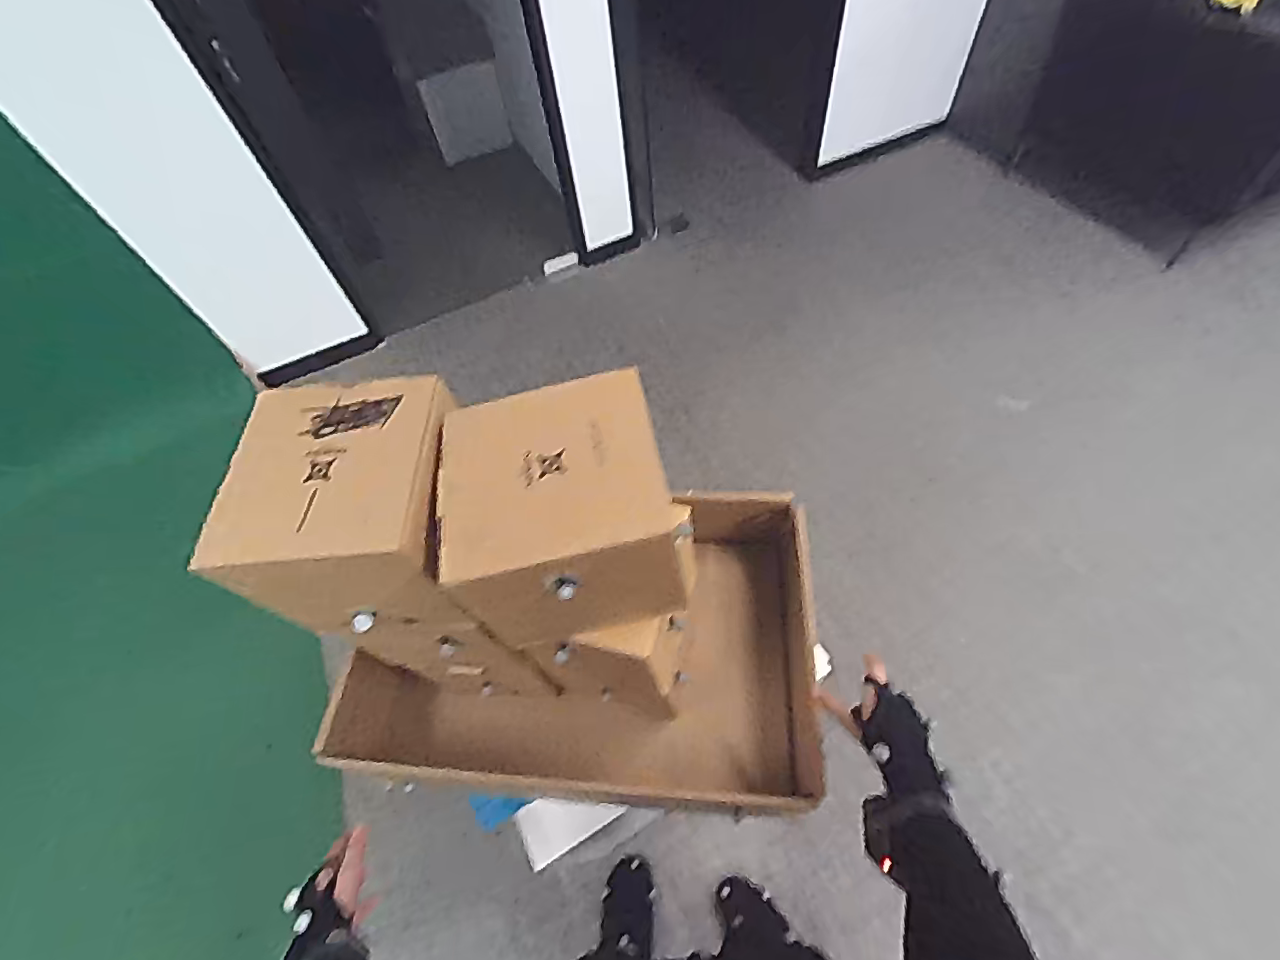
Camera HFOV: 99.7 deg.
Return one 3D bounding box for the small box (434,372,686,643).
[{"bbox_3d":[-0.064,0.034,0.495,0.179,0.176,0.168,-13,55,1],"label":"small box"}]
